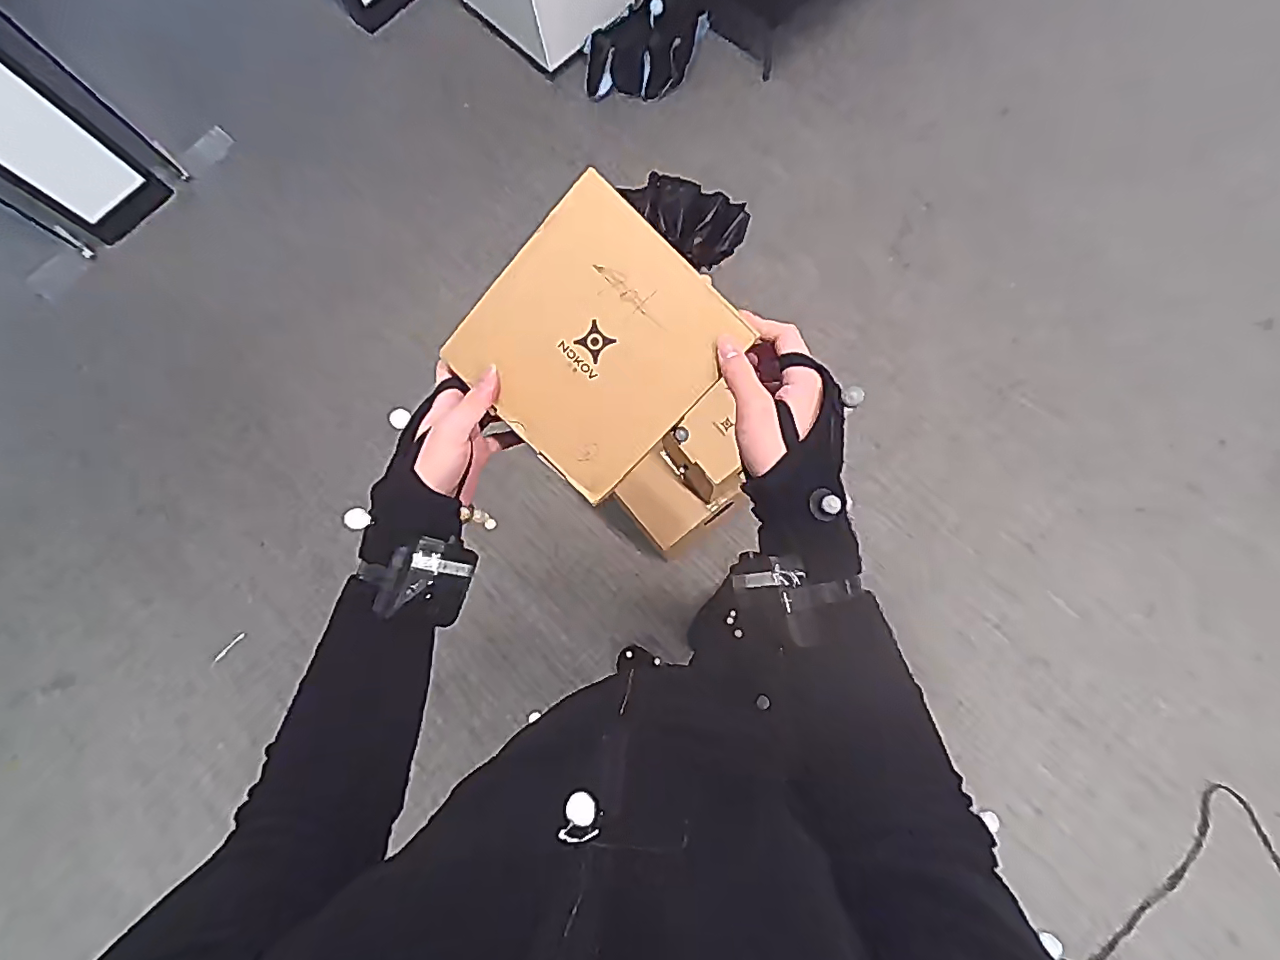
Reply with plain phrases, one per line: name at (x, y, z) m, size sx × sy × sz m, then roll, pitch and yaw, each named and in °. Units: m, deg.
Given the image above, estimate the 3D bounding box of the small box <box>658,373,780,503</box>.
small box at (0.156, -0.077, 1.102) m, size 0.179 × 0.176 × 0.168 m, roll -36°, pitch 75°, yaw -7°
